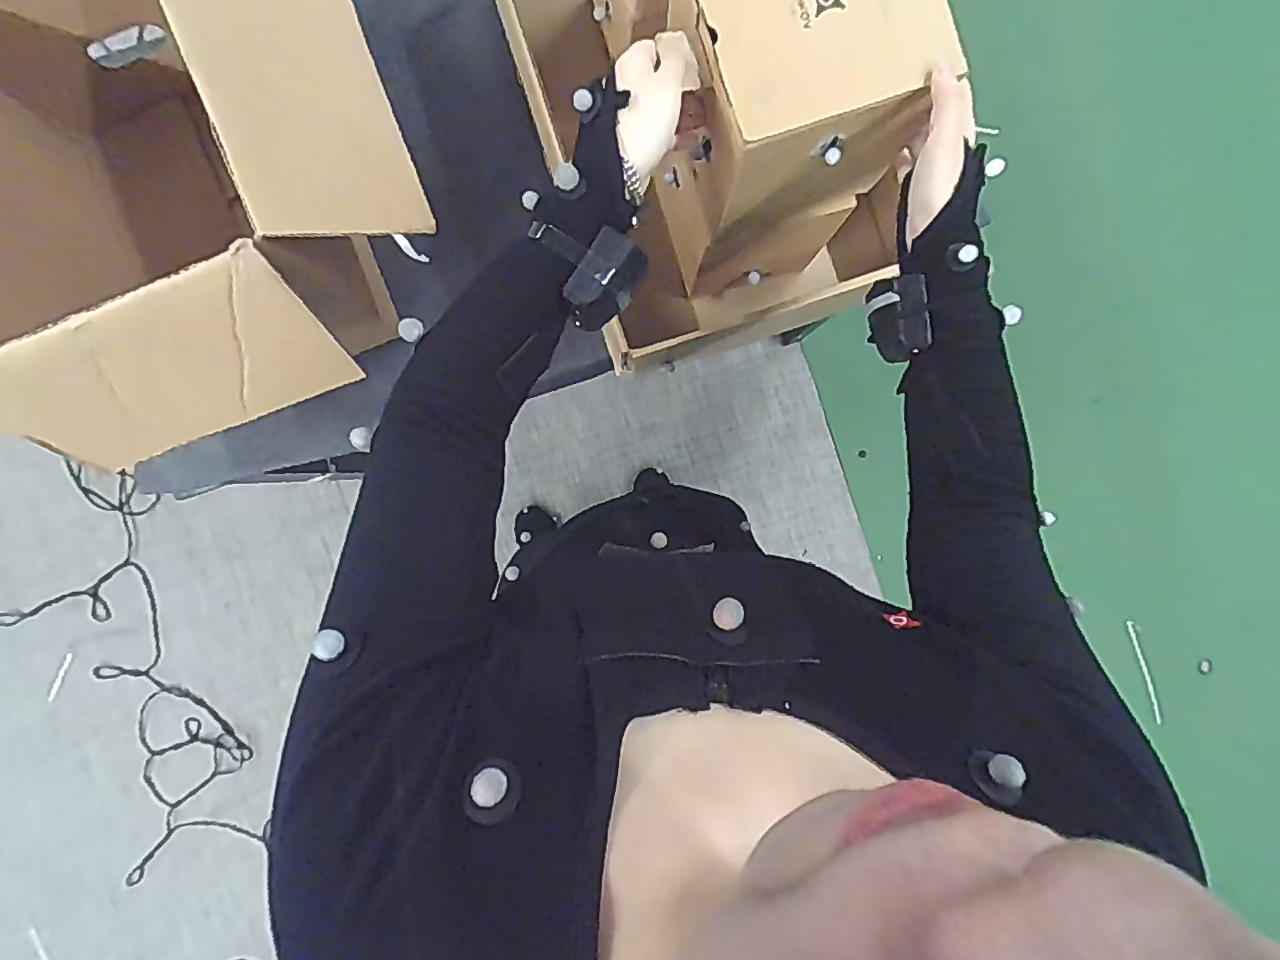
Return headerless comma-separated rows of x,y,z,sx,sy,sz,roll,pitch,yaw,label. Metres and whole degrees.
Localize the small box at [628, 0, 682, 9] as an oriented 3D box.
0.049,-0.569,0.467,0.179,0.176,0.168,-19,94,-1,small box
